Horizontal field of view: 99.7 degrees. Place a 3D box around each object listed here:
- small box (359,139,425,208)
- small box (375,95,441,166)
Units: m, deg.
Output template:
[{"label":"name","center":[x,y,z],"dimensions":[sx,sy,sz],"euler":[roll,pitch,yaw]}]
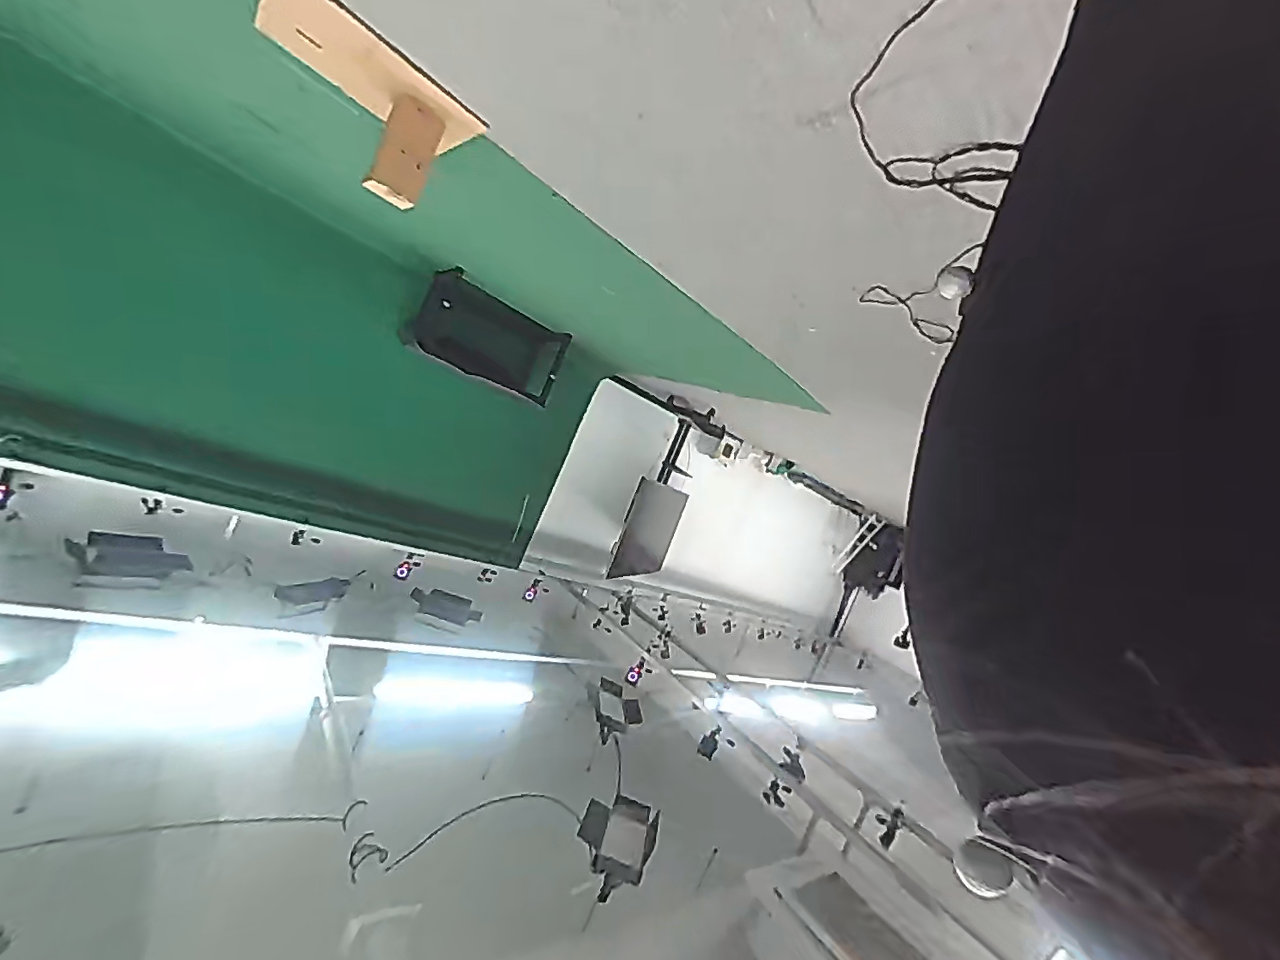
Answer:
[{"label":"small box","center":[-0.953,-1.181,2.085],"dimensions":[0.168,0.176,0.179],"euler":[21,-177,-43]},{"label":"small box","center":[-0.890,-1.332,2.079],"dimensions":[0.168,0.176,0.179],"euler":[20,-178,-41]}]
